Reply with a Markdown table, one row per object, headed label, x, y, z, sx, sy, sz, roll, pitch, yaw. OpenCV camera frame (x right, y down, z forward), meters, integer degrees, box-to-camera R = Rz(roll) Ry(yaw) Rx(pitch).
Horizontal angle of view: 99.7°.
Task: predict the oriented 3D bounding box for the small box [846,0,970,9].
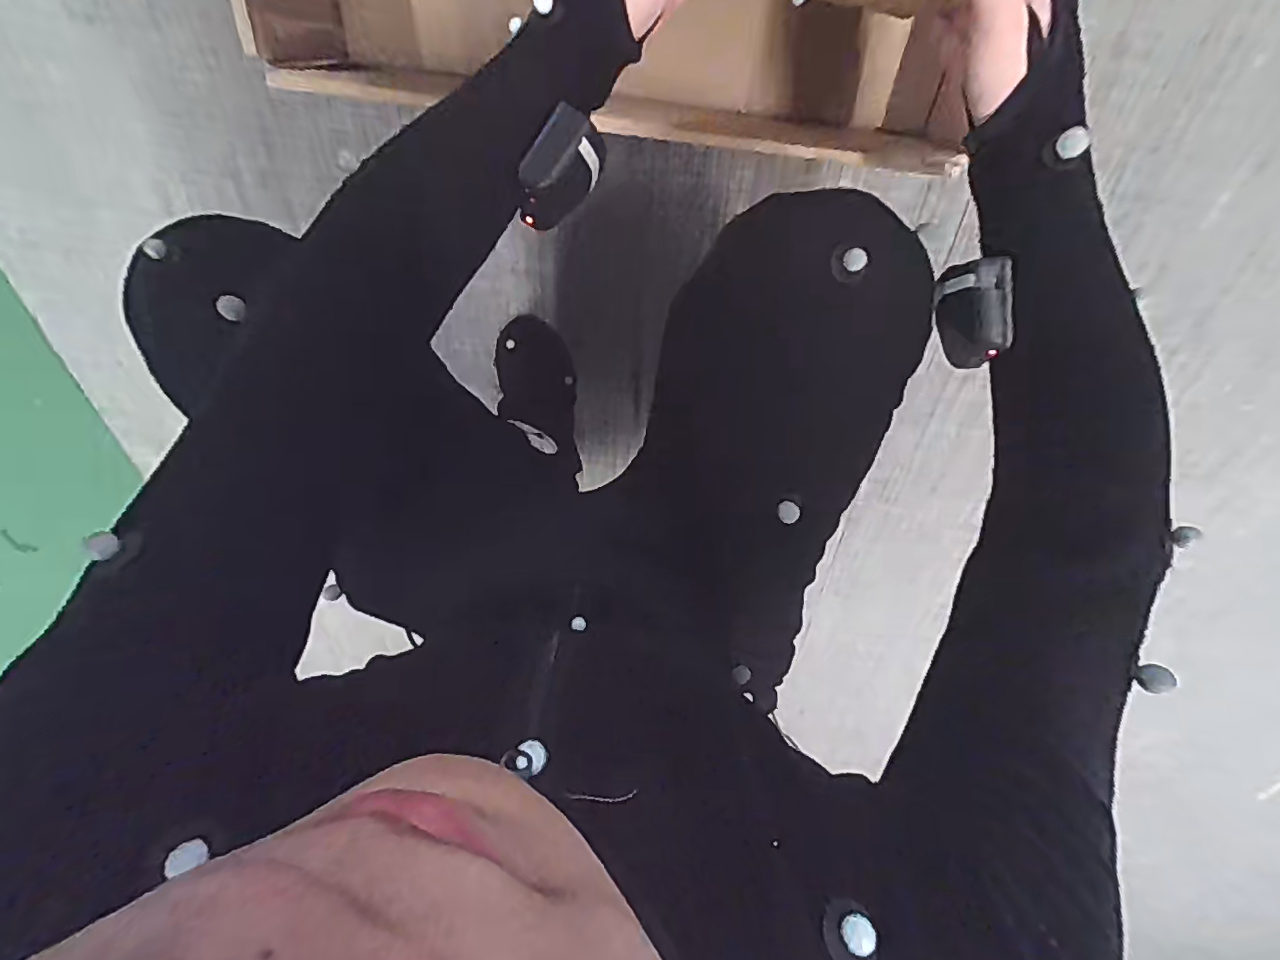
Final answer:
| label | x | y | z | sx | sy | sz | roll | pitch | yaw |
| --- | --- | --- | --- | --- | --- | --- | --- | --- | --- |
| small box | 0.140 | -0.412 | 0.320 | 0.168 | 0.176 | 0.179 | 12 | 130 | -1 |
